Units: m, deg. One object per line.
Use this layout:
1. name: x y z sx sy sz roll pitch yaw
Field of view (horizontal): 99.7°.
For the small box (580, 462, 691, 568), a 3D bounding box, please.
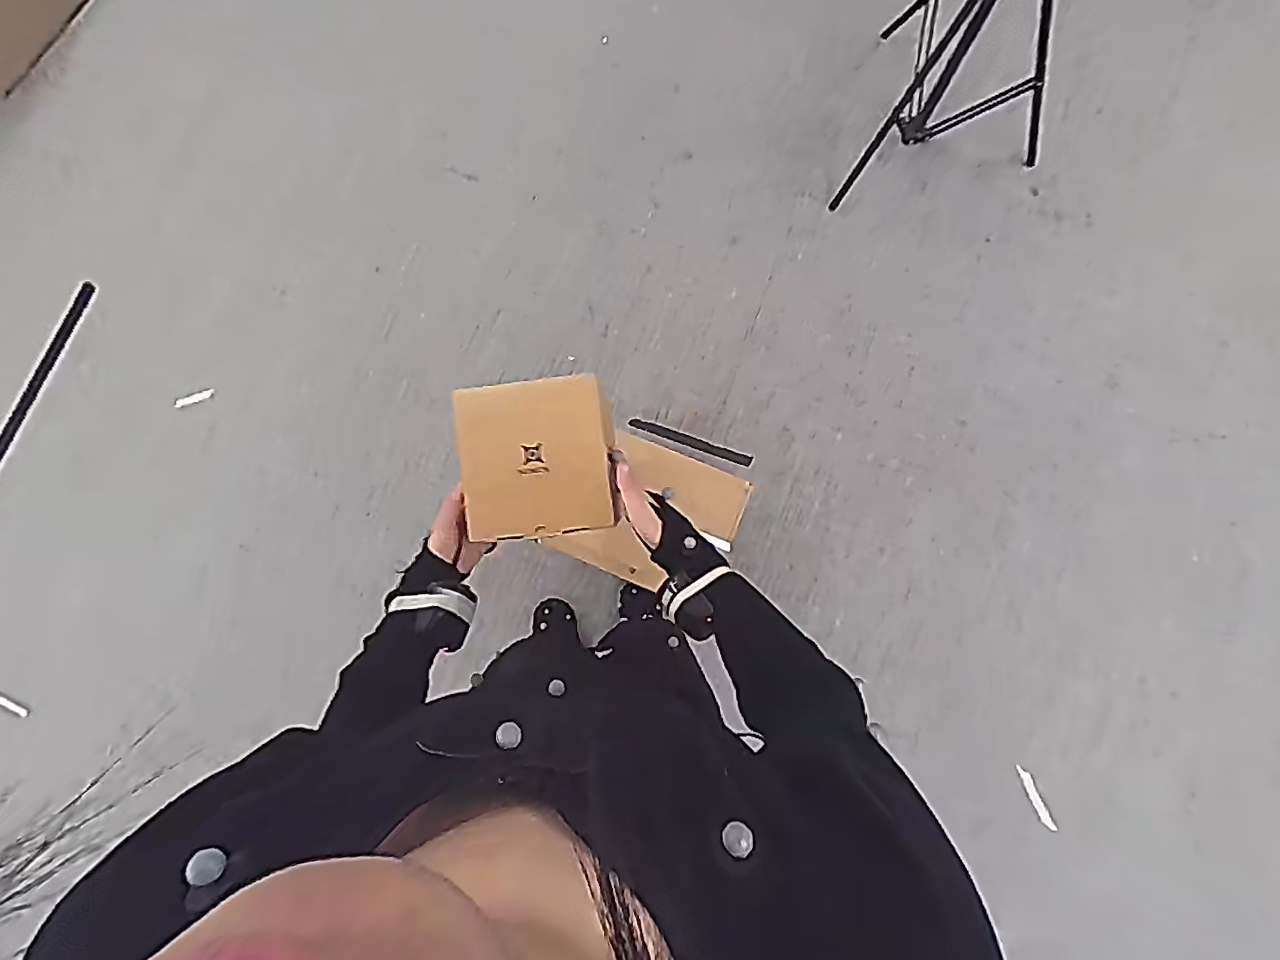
1. small box: -0.003 0.077 1.134 0.179 0.176 0.168 20 86 6
